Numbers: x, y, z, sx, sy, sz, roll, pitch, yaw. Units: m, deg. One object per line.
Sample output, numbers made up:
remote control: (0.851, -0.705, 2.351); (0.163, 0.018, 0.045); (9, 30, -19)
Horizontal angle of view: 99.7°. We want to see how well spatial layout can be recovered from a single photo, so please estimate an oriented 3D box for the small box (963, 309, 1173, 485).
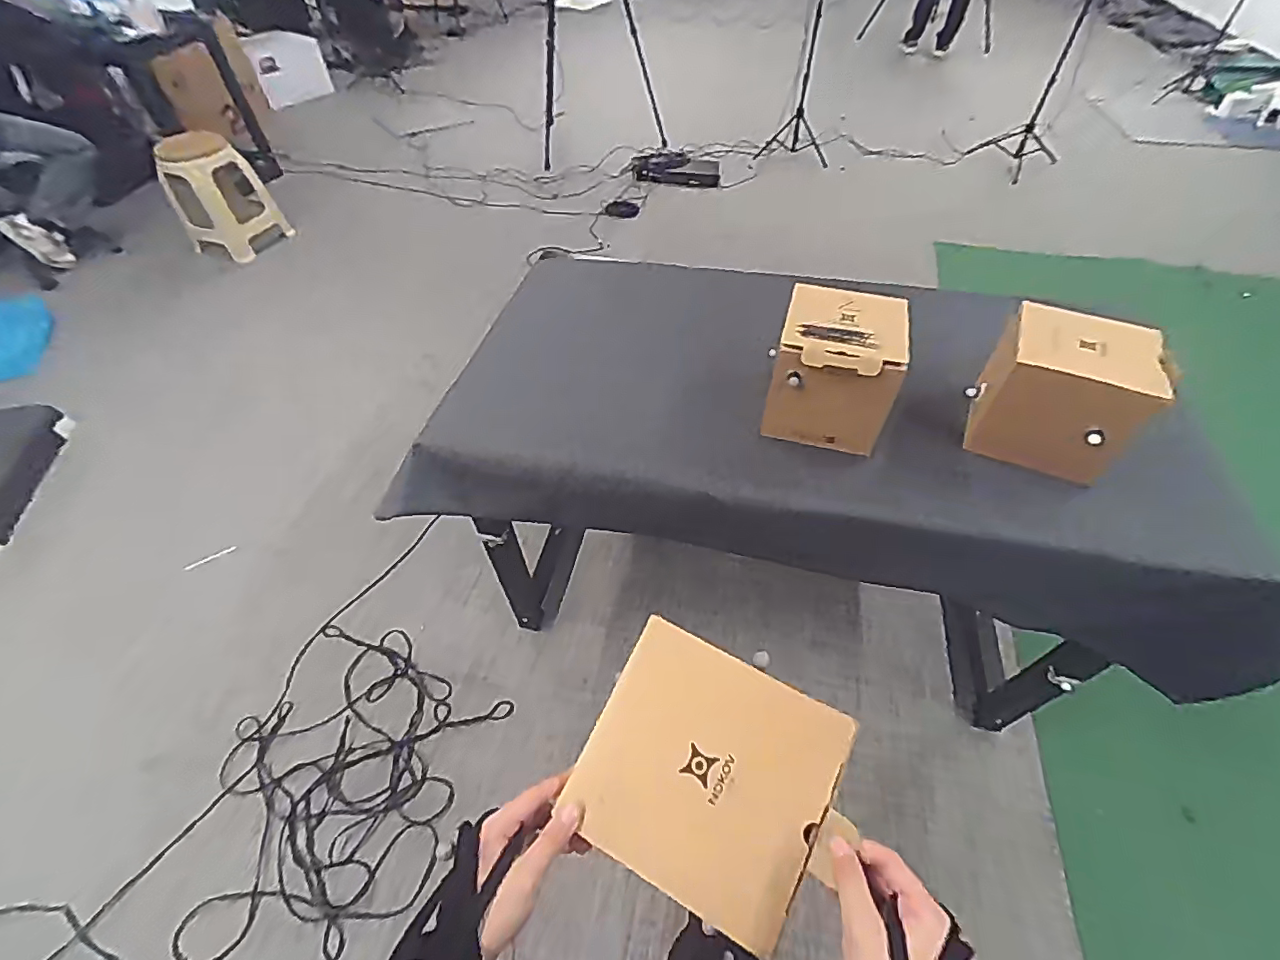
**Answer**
small box: (0.607, -0.117, 0.787); (0.179, 0.176, 0.168); (20, 52, 18)
